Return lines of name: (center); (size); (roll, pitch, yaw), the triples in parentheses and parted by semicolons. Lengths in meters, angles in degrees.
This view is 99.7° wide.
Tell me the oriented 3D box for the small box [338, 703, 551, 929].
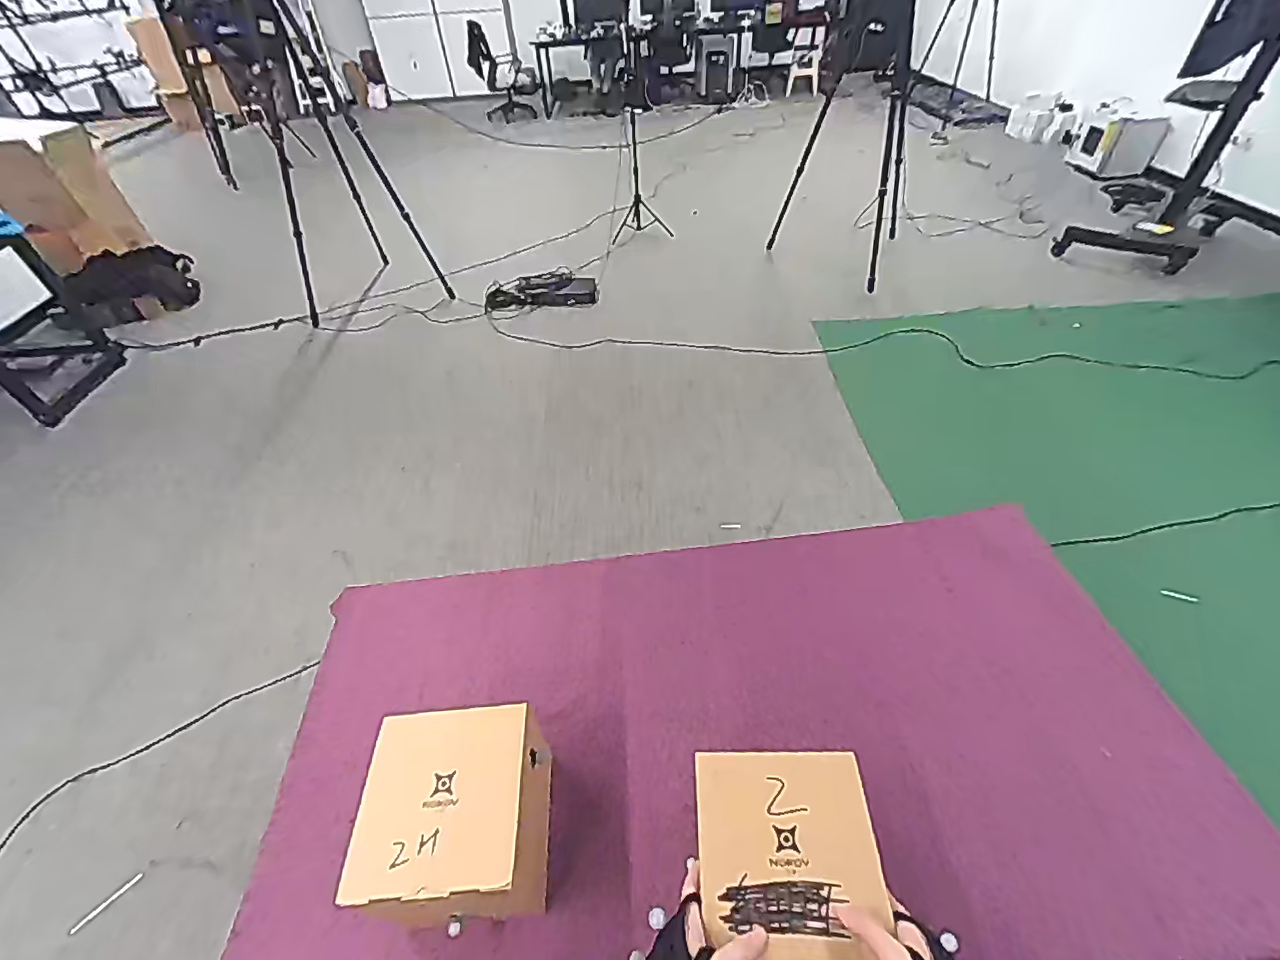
small box: (-0.198, 0.379, 0.612); (0.168, 0.176, 0.179); (-6, 44, 0)
